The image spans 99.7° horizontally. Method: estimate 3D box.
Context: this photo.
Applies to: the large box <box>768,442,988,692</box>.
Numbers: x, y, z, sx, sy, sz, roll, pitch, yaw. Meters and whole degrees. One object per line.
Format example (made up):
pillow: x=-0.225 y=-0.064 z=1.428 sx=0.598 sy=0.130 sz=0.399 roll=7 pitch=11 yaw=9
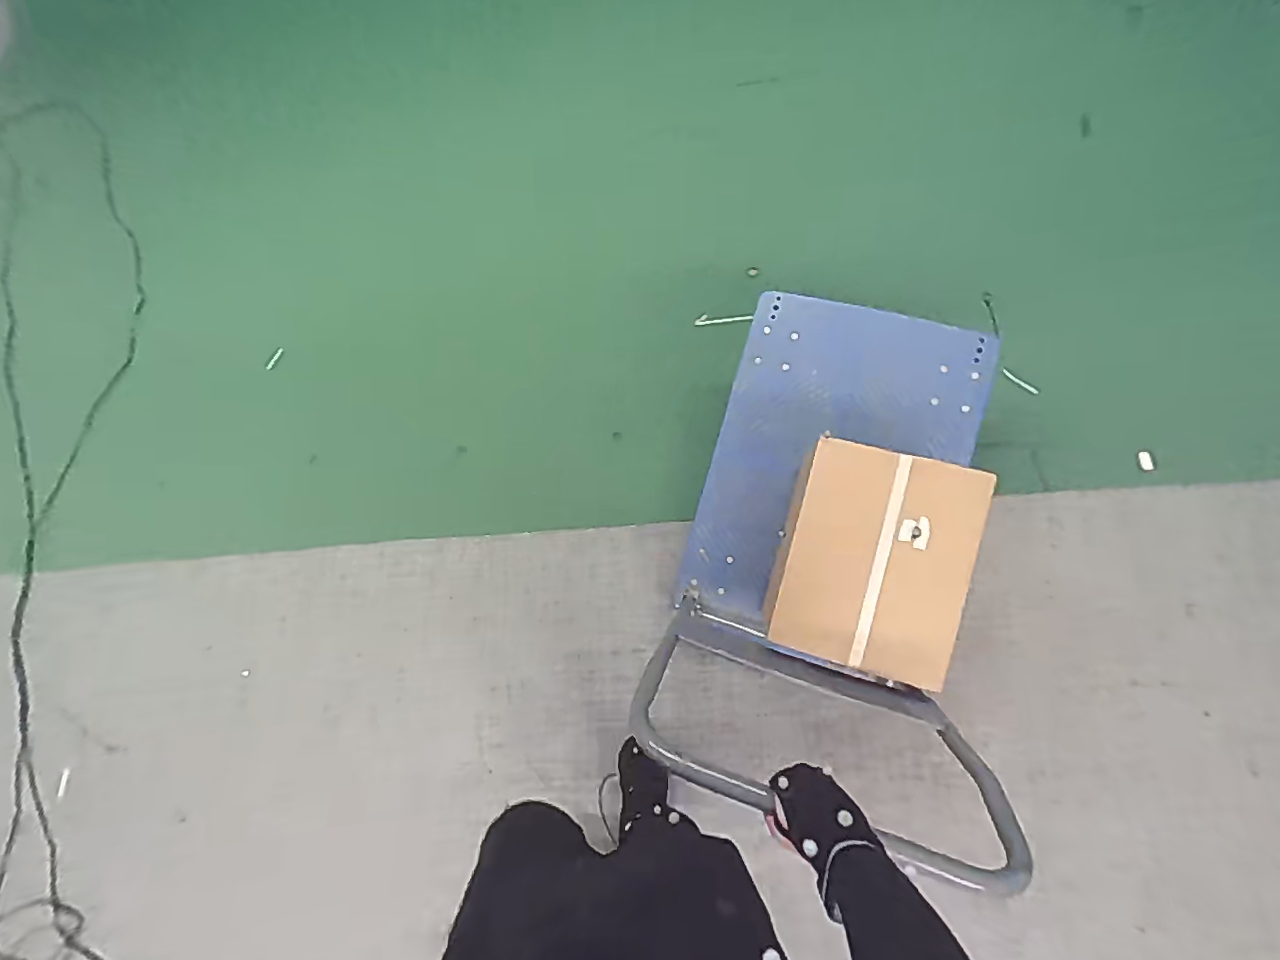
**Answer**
large box: x=0.468 y=0.169 z=1.144 sx=0.320 sy=0.320 sz=0.408 roll=15 pitch=87 yaw=12
